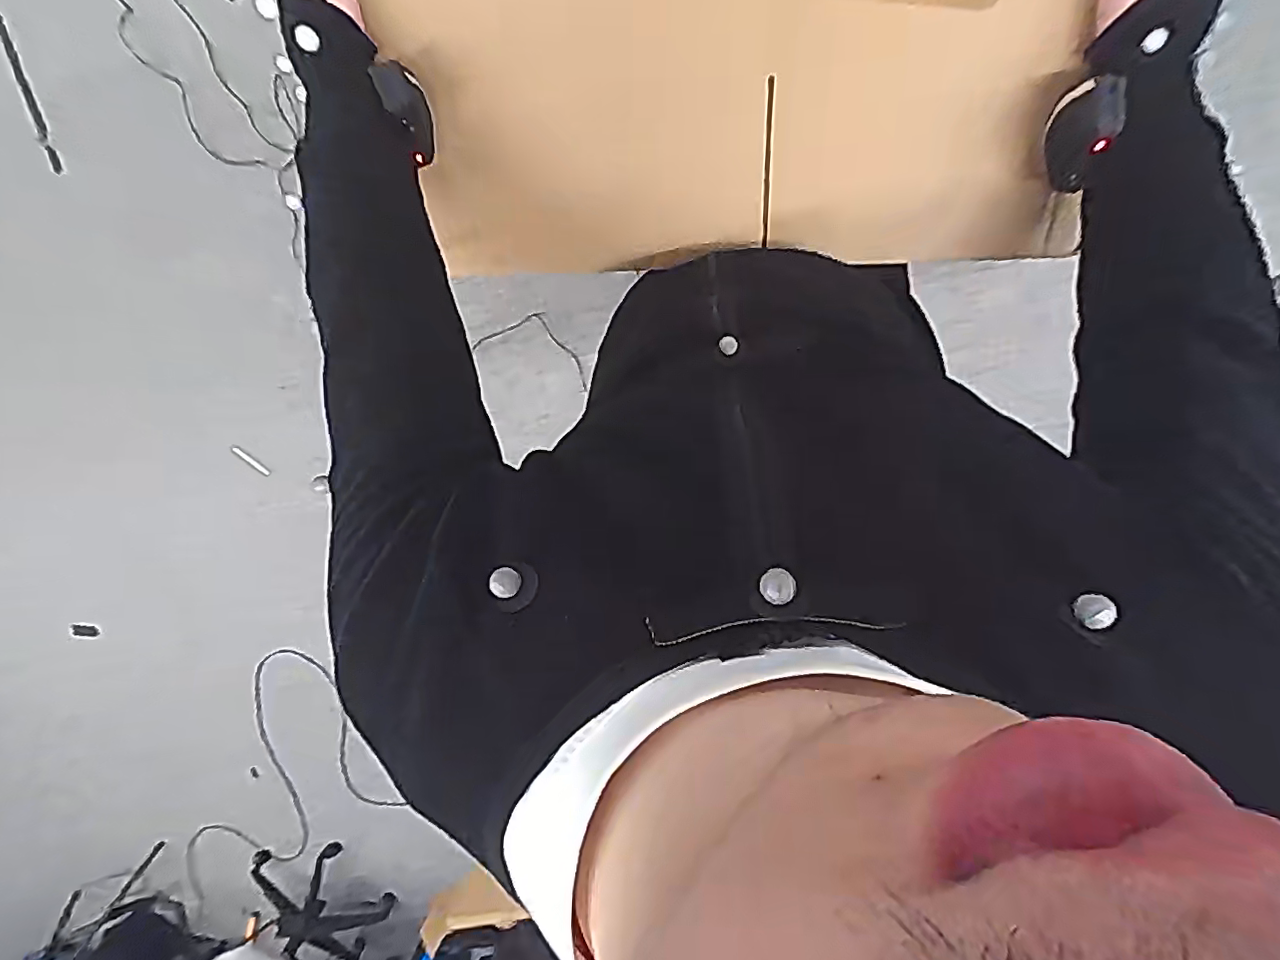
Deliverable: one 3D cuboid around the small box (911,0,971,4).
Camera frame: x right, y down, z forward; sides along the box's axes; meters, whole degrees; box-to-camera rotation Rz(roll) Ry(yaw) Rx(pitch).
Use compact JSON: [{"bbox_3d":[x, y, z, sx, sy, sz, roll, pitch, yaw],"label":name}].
[{"bbox_3d":[0.201,-0.454,0.353,0.179,0.176,0.168,11,111,6],"label":"small box"}]
